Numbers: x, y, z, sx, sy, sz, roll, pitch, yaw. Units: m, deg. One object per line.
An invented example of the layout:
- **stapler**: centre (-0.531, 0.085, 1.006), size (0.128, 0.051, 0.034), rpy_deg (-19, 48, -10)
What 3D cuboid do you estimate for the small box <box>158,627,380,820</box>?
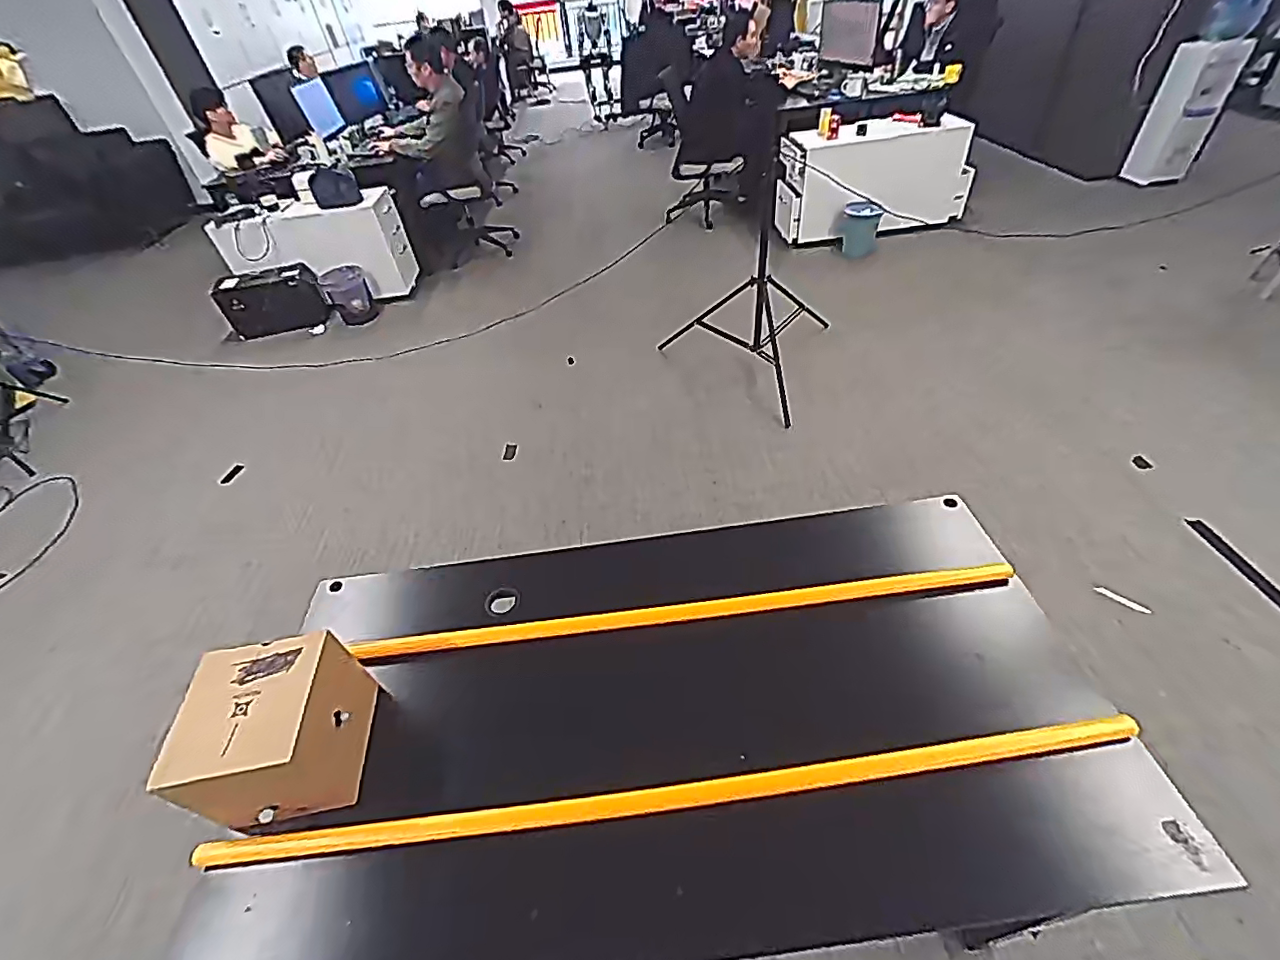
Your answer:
- **small box**: centre (-0.479, 0.330, 0.737), size (0.168, 0.176, 0.179), rpy_deg (-10, 45, -3)
